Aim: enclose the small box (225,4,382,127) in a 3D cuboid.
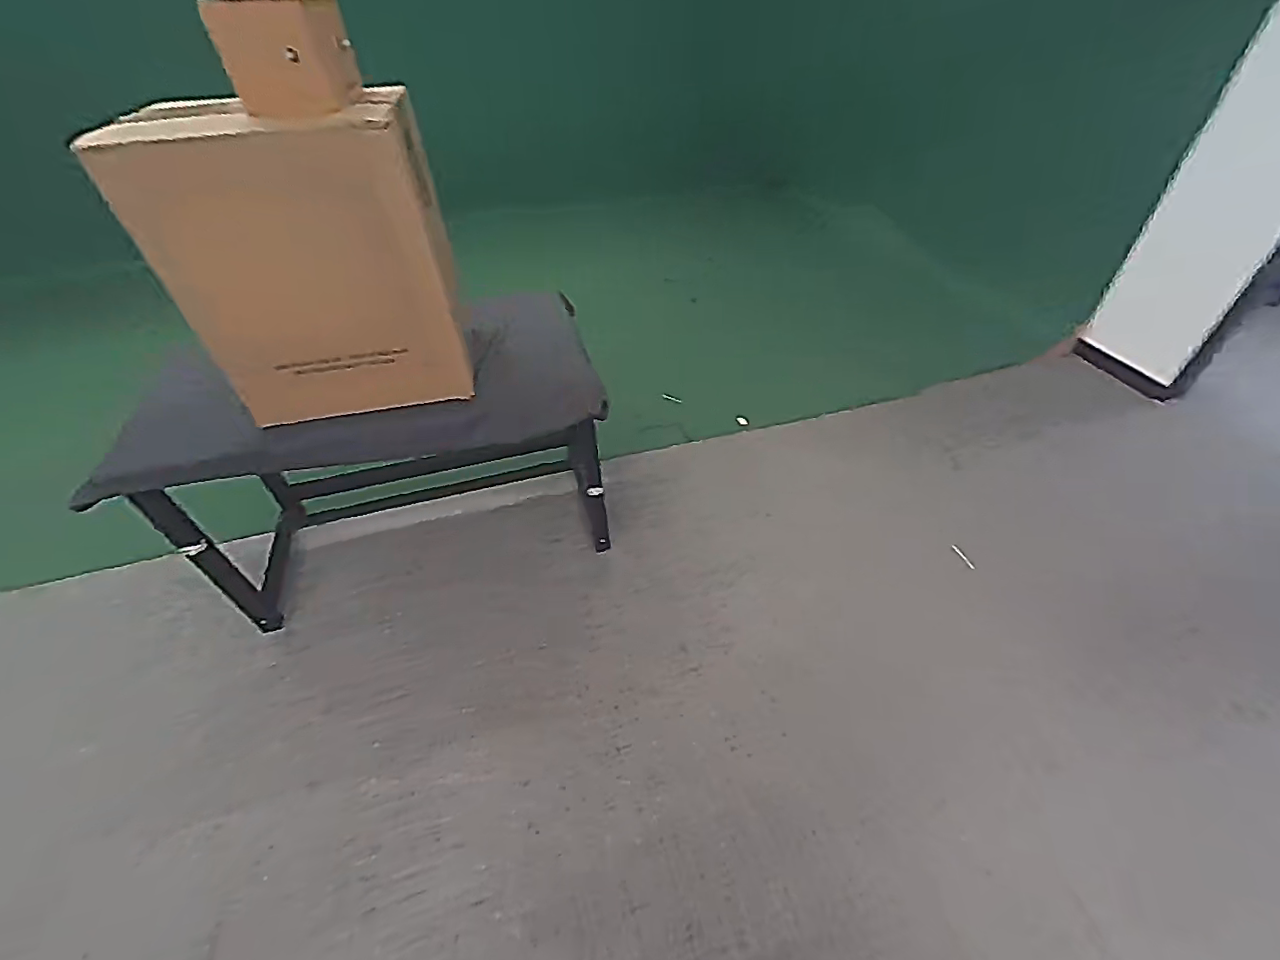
[{"bbox_3d":[-0.638,-0.808,1.056,0.179,0.176,0.168,-2,45,2],"label":"small box"}]
